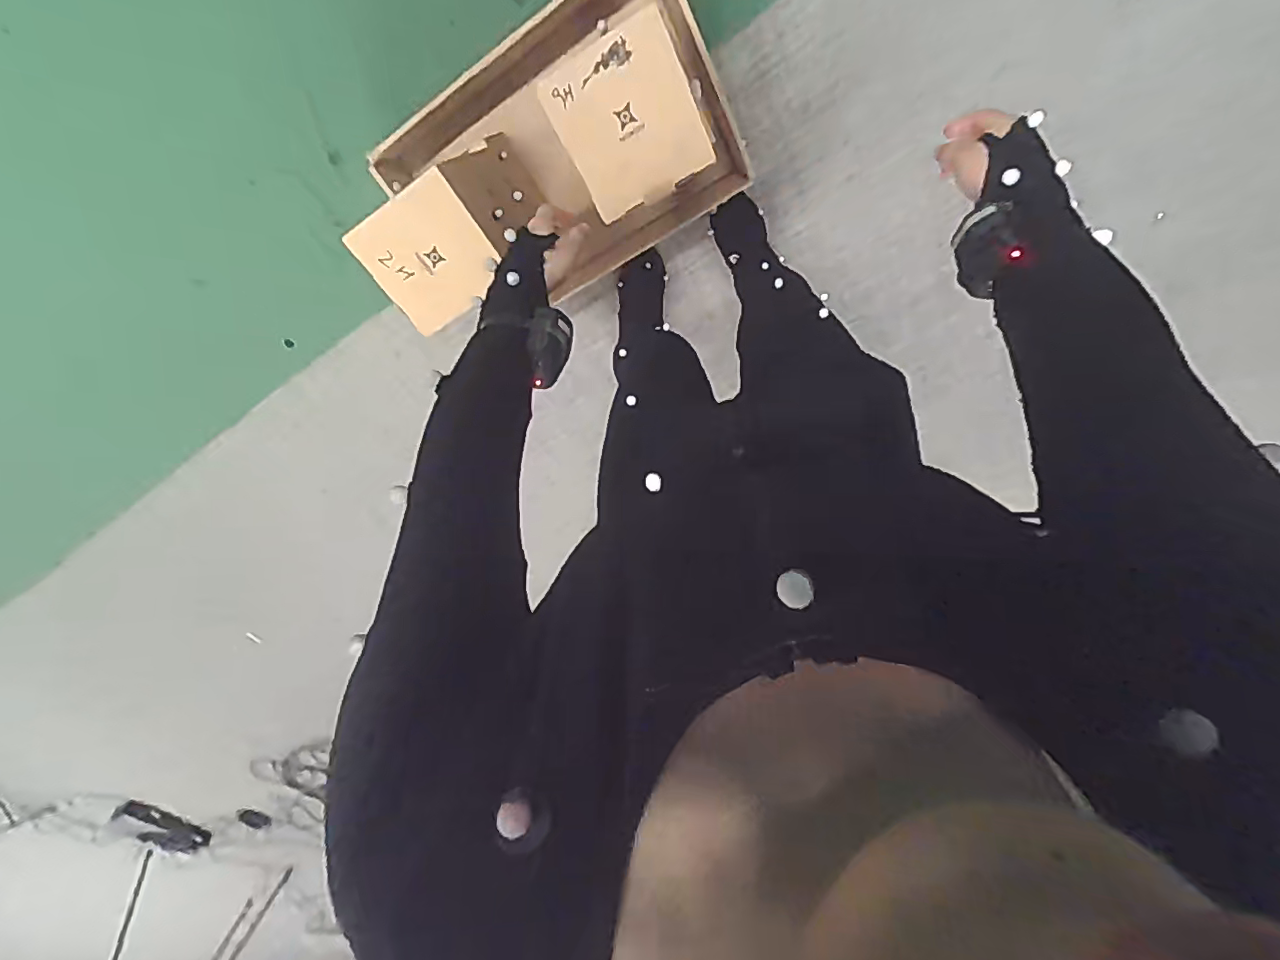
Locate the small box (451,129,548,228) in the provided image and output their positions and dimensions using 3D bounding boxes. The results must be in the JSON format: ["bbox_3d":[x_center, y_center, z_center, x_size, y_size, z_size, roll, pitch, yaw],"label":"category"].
[{"bbox_3d":[-0.302,-0.560,1.071,0.168,0.176,0.179,-27,123,18],"label":"small box"}]

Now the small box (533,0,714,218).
[{"bbox_3d":[-0.015,-0.488,0.716,0.168,0.176,0.179,-22,126,18],"label":"small box"}]

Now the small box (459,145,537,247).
[{"bbox_3d":[-0.300,-0.454,0.946,0.179,0.176,0.168,-26,123,16],"label":"small box"}]

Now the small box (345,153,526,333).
[{"bbox_3d":[-0.289,-0.359,0.811,0.179,0.176,0.168,-26,122,18],"label":"small box"}]
